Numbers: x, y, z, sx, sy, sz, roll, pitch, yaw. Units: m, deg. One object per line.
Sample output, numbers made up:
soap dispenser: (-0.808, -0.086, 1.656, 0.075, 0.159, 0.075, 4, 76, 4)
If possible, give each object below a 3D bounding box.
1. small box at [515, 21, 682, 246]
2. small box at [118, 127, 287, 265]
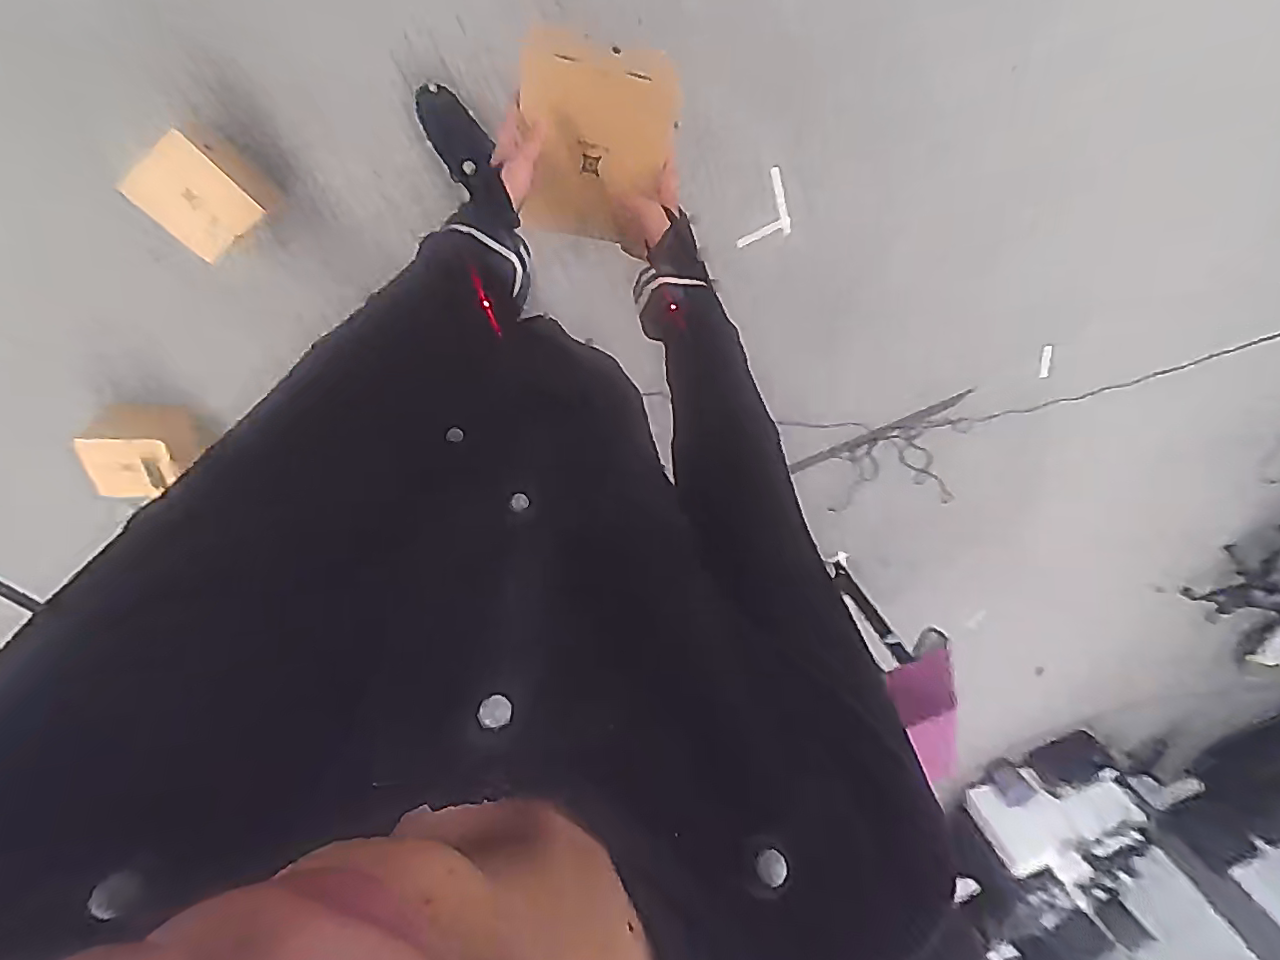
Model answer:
small box: (-0.054, -0.418, 0.655, 0.168, 0.176, 0.179, 7, 135, -10)
small box: (-0.856, -0.569, 1.078, 0.168, 0.176, 0.179, -35, 128, 10)
